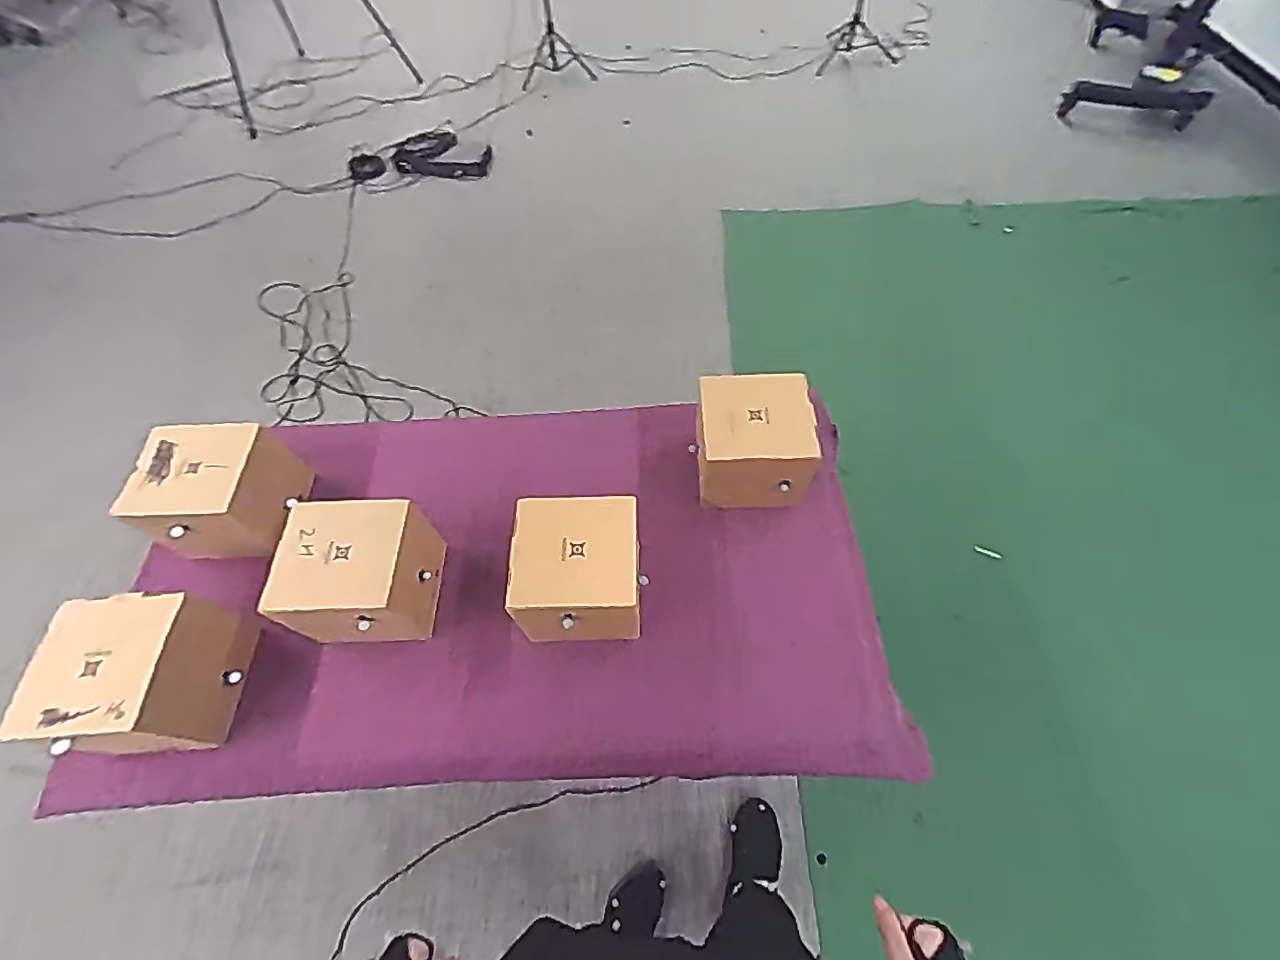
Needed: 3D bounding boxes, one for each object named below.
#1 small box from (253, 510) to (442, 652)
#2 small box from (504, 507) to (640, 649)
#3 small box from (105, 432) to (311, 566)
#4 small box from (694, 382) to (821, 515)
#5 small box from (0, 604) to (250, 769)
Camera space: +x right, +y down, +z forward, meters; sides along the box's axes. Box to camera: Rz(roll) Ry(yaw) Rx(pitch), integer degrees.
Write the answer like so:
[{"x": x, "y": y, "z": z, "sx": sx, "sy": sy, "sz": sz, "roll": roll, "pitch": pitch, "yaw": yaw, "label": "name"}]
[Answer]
[{"x": -0.418, "y": 0.156, "z": 0.813, "sx": 0.179, "sy": 0.176, "sz": 0.168, "roll": -2, "pitch": 59, "yaw": 1, "label": "small box"}, {"x": -0.088, "y": 0.151, "z": 0.809, "sx": 0.179, "sy": 0.176, "sz": 0.168, "roll": -2, "pitch": 59, "yaw": 2, "label": "small box"}, {"x": -0.692, "y": 0.037, "z": 0.893, "sx": 0.179, "sy": 0.176, "sz": 0.168, "roll": -2, "pitch": 59, "yaw": 0, "label": "small box"}, {"x": 0.187, "y": -0.048, "z": 0.914, "sx": 0.179, "sy": 0.176, "sz": 0.168, "roll": -1, "pitch": 60, "yaw": 2, "label": "small box"}, {"x": -0.684, "y": 0.285, "z": 0.741, "sx": 0.168, "sy": 0.176, "sz": 0.179, "roll": -4, "pitch": 57, "yaw": 1, "label": "small box"}]
